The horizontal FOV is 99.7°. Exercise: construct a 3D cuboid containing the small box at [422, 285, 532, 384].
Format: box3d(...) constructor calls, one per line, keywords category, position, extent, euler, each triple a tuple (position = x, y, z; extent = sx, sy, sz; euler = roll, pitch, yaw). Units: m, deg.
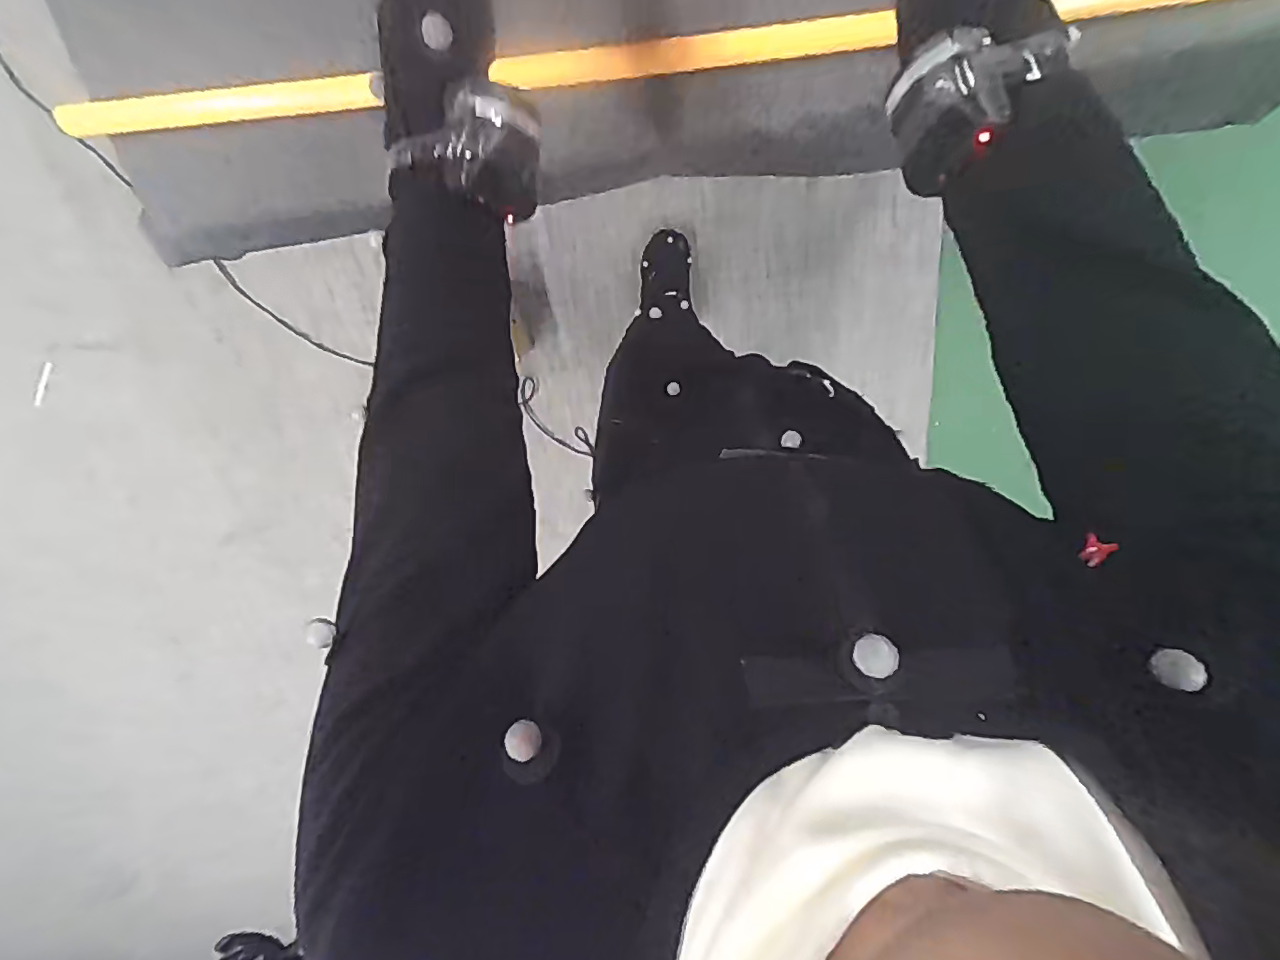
box3d(category="small box", position=(-0.364, -0.340, 1.242), extent=(0.168, 0.176, 0.179), euler=(-15, 112, 6))
